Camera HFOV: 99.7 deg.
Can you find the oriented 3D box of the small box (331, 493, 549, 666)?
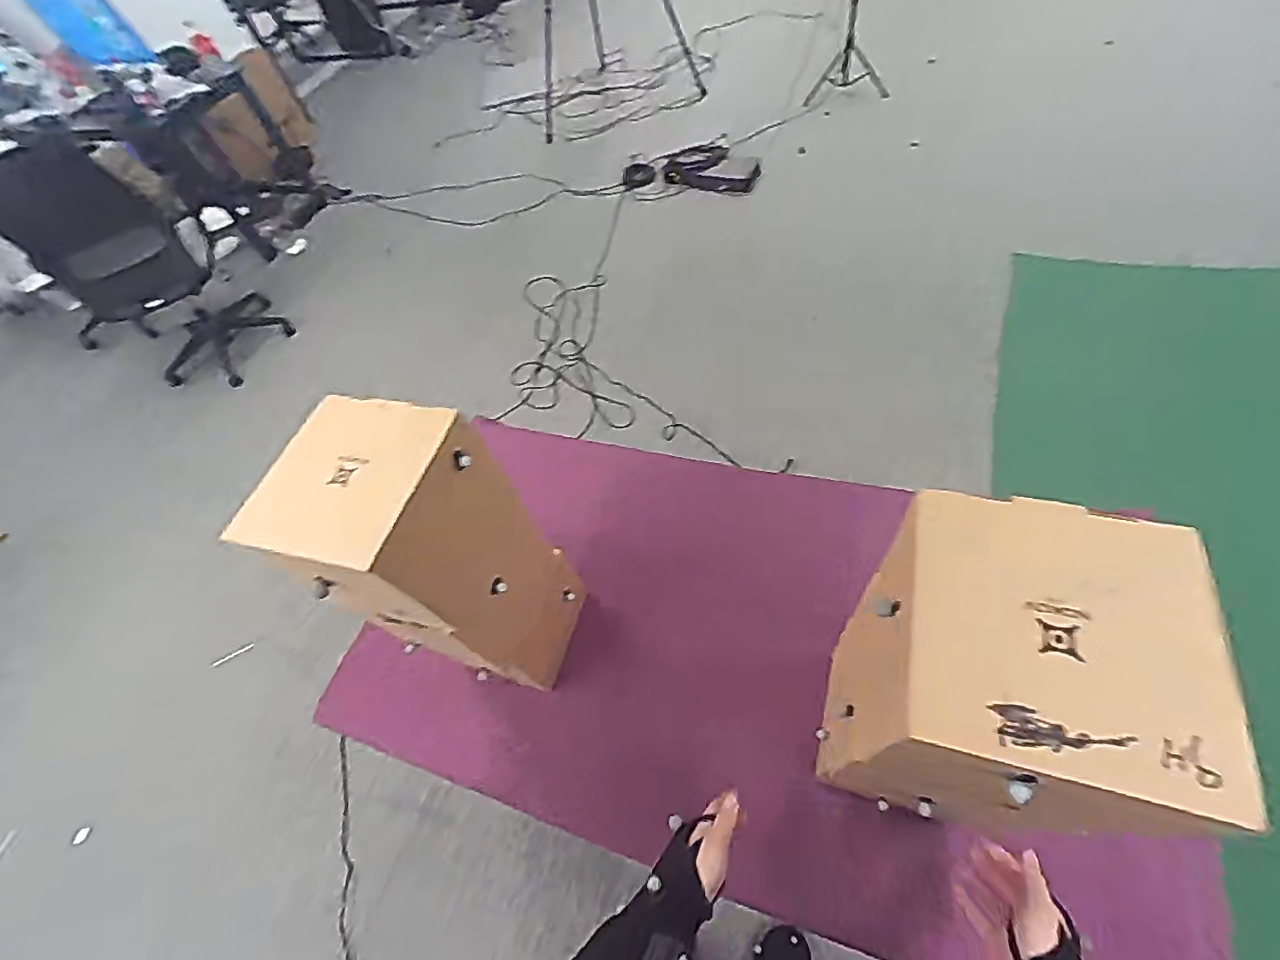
[{"bbox_3d":[-0.236,0.116,0.690,0.168,0.176,0.179,11,59,18],"label":"small box"}]

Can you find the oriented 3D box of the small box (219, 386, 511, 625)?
[{"bbox_3d":[-0.256,0.030,0.555,0.168,0.176,0.179,9,58,17],"label":"small box"}]

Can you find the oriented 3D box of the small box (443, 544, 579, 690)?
[{"bbox_3d":[-0.206,0.197,0.829,0.168,0.176,0.179,11,60,18],"label":"small box"}]

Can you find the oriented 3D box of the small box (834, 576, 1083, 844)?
[{"bbox_3d":[0.291,0.221,0.522,0.168,0.176,0.179,12,60,18],"label":"small box"}]

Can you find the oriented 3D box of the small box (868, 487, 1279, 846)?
[{"bbox_3d":[0.269,0.133,0.386,0.168,0.176,0.179,10,59,18],"label":"small box"}]
